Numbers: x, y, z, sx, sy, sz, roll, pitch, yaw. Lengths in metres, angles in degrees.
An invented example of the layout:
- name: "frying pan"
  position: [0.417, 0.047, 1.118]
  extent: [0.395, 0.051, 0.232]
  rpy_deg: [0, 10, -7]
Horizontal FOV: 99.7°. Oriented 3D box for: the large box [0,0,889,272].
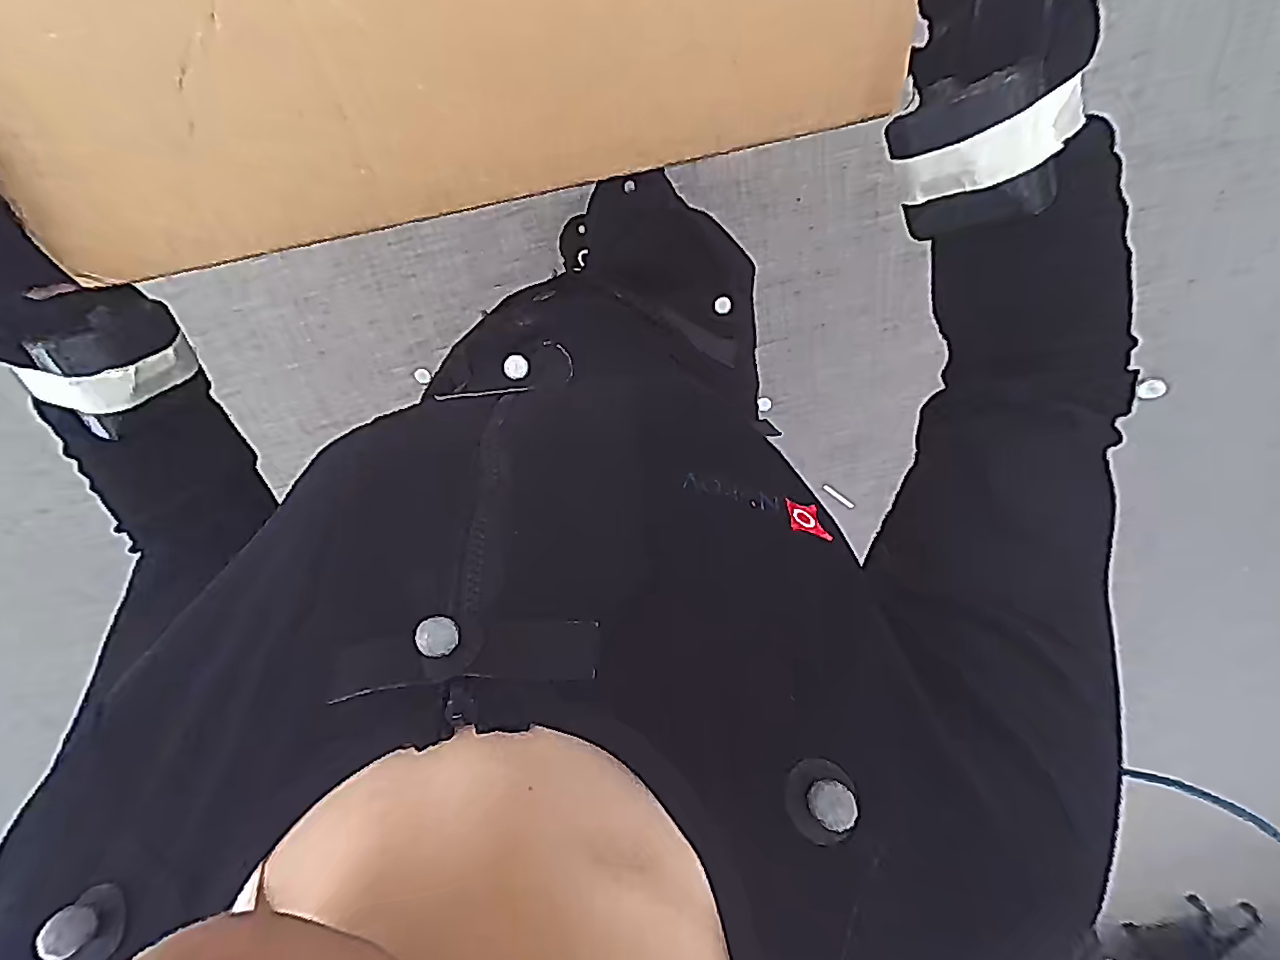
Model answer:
- name: "large box"
  position: [-0.120, -0.353, 0.259]
  extent: [0.408, 0.320, 0.320]
  rpy_deg: [-10, 135, 3]
